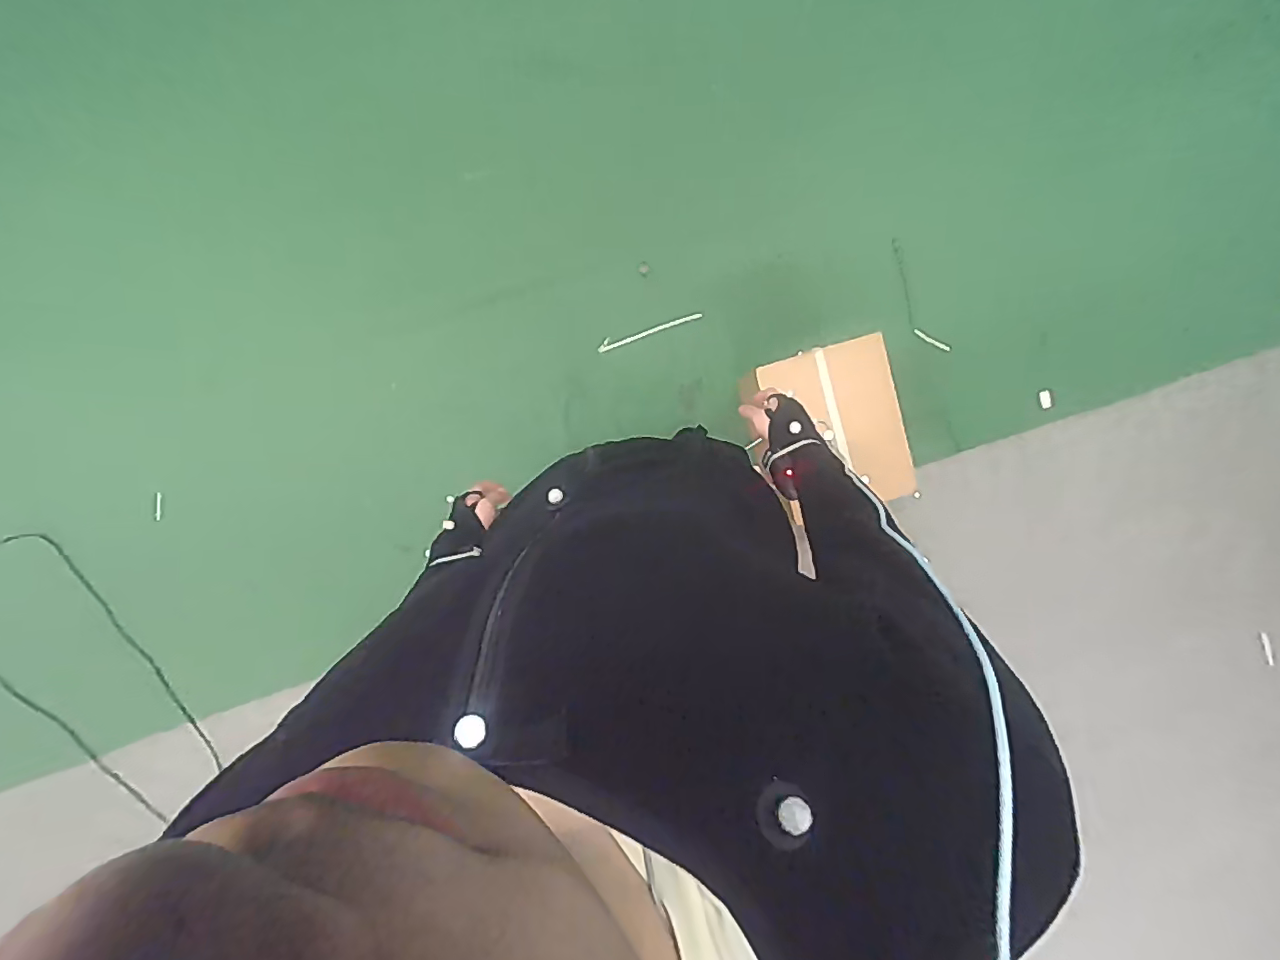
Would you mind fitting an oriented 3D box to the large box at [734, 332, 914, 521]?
[{"bbox_3d":[0.477,-0.145,1.468,0.320,0.320,0.408,-16,96,3],"label":"large box"}]
